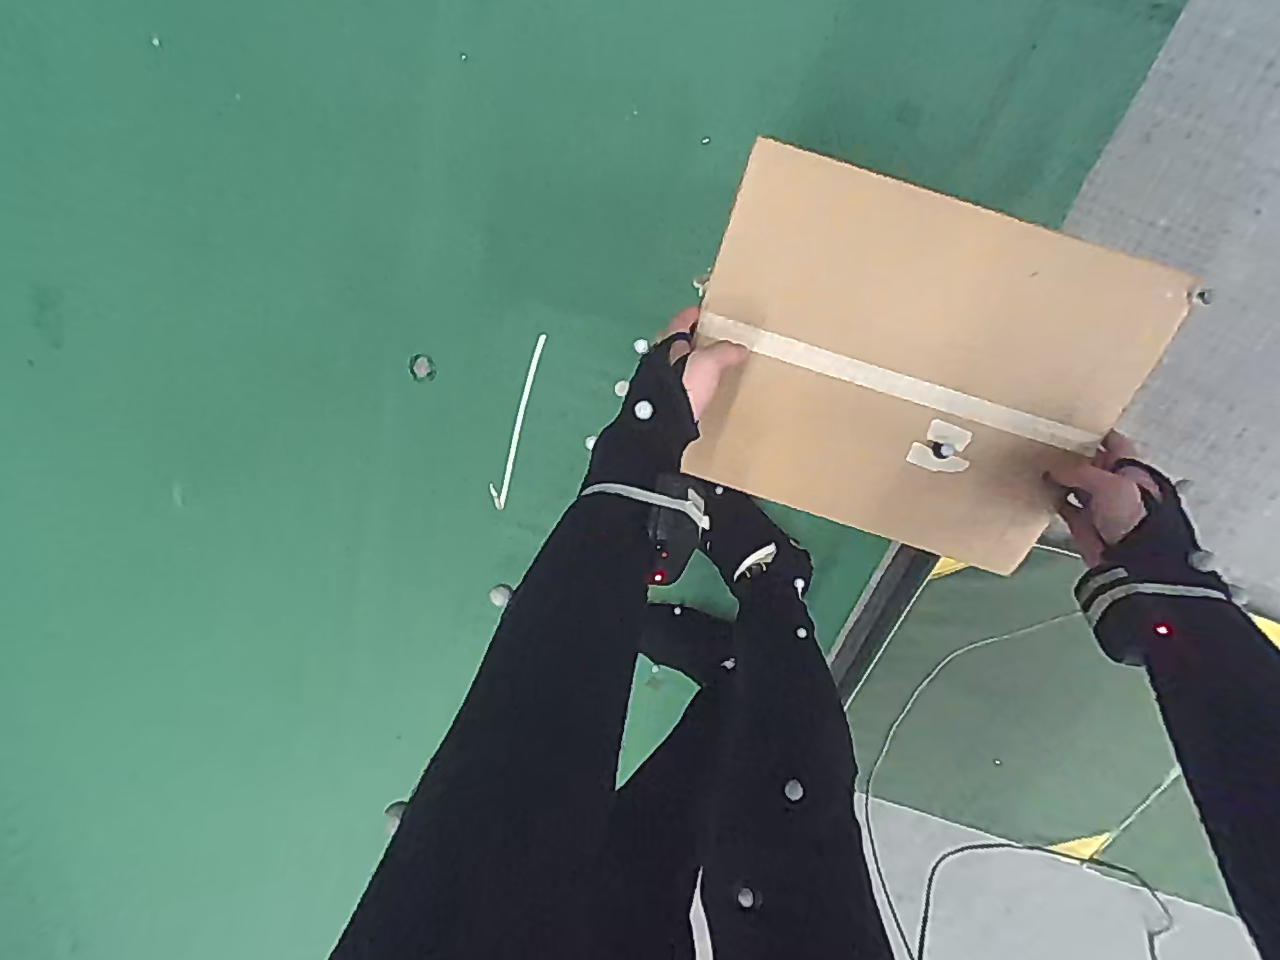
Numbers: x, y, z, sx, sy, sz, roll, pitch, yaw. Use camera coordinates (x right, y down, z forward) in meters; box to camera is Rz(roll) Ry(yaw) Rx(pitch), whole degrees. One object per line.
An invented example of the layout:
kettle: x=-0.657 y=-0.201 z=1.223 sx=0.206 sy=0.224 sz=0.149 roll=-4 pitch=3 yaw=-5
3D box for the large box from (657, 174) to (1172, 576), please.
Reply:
large box: x=0.258 y=-0.136 z=0.671 sx=0.408 sy=0.320 sz=0.320 roll=17 pitch=113 yaw=-1
